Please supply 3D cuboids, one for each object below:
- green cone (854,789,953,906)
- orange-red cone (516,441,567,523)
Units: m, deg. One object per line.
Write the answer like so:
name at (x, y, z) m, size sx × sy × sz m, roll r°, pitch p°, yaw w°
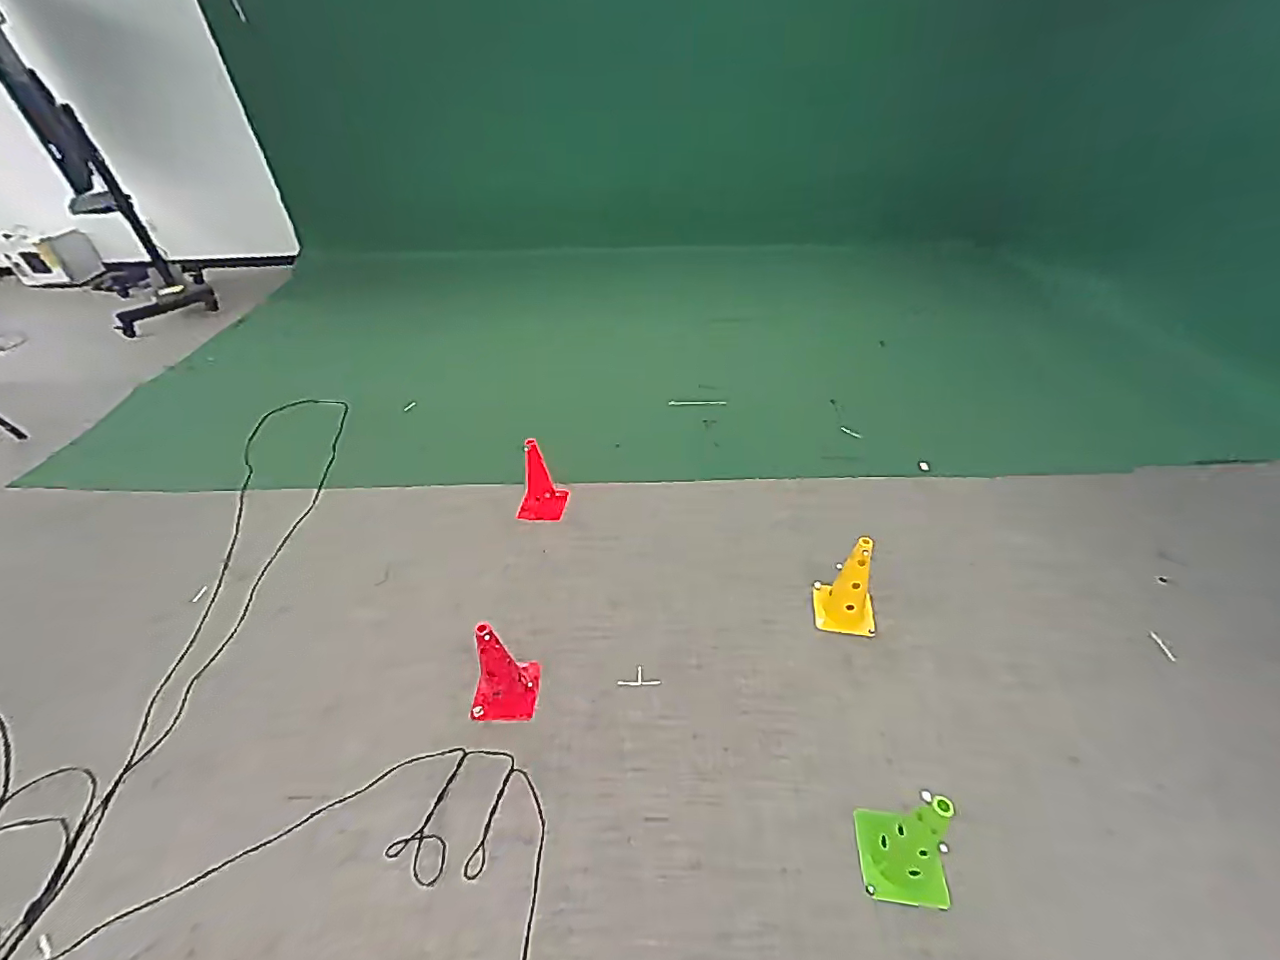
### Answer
green cone at (0.660, 0.825, 1.269) m, size 0.200 × 0.368 × 0.202 m, roll 3°, pitch 40°, yaw 6°
orange-red cone at (-0.446, -0.010, 2.293) m, size 0.199 × 0.360 × 0.198 m, roll 2°, pitch 40°, yaw 8°
